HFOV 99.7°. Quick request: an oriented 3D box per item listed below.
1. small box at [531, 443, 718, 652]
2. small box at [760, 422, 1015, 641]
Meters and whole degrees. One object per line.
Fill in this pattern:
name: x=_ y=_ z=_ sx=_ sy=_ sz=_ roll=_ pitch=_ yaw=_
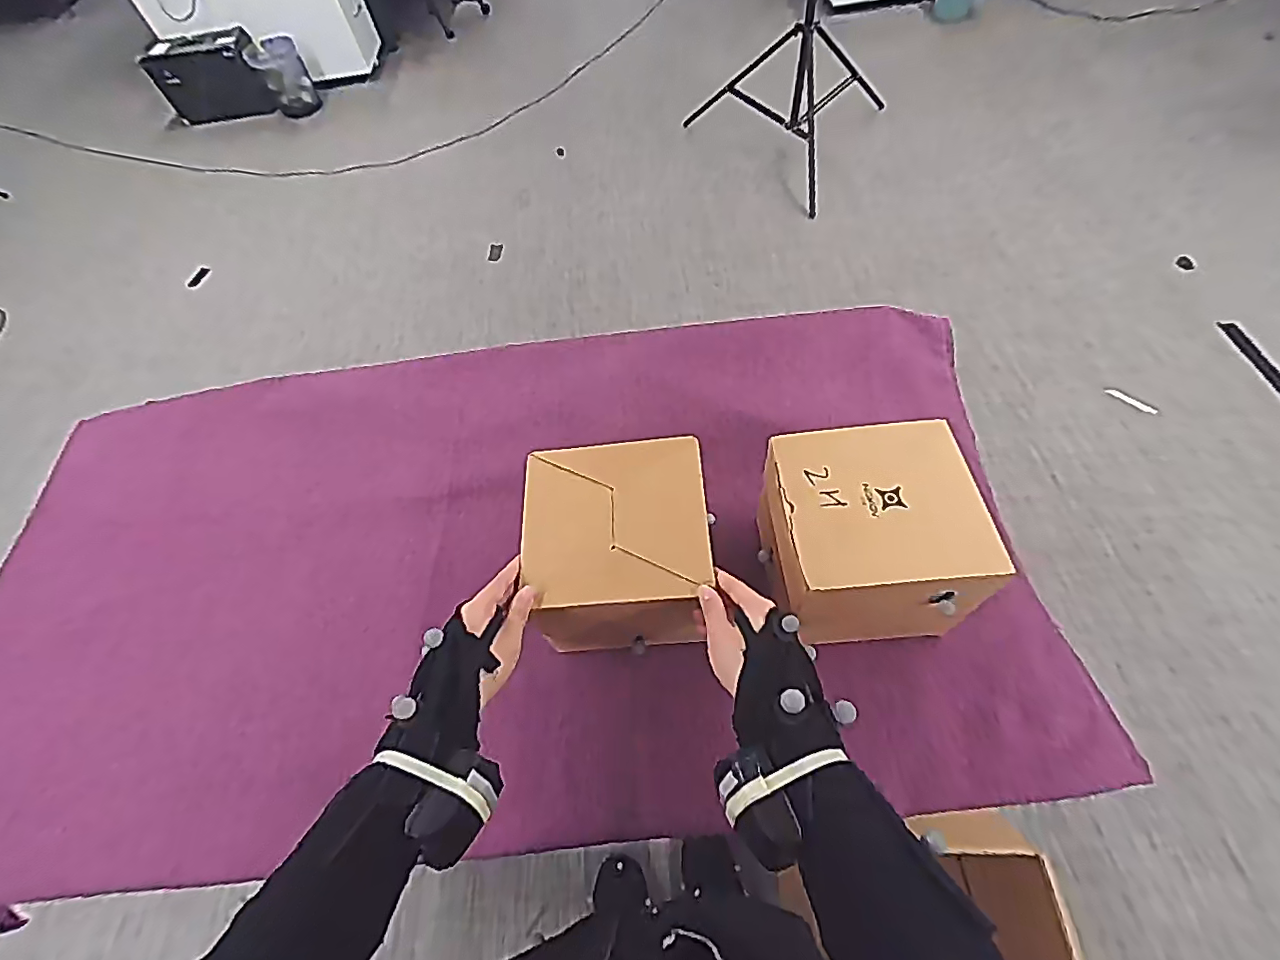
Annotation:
small box: x=-0.014 y=0.076 z=0.581 sx=0.179 sy=0.176 sz=0.168 roll=-6 pitch=58 yaw=4
small box: x=0.232 y=0.061 z=0.564 sx=0.179 sy=0.176 sz=0.168 roll=-5 pitch=56 yaw=3
